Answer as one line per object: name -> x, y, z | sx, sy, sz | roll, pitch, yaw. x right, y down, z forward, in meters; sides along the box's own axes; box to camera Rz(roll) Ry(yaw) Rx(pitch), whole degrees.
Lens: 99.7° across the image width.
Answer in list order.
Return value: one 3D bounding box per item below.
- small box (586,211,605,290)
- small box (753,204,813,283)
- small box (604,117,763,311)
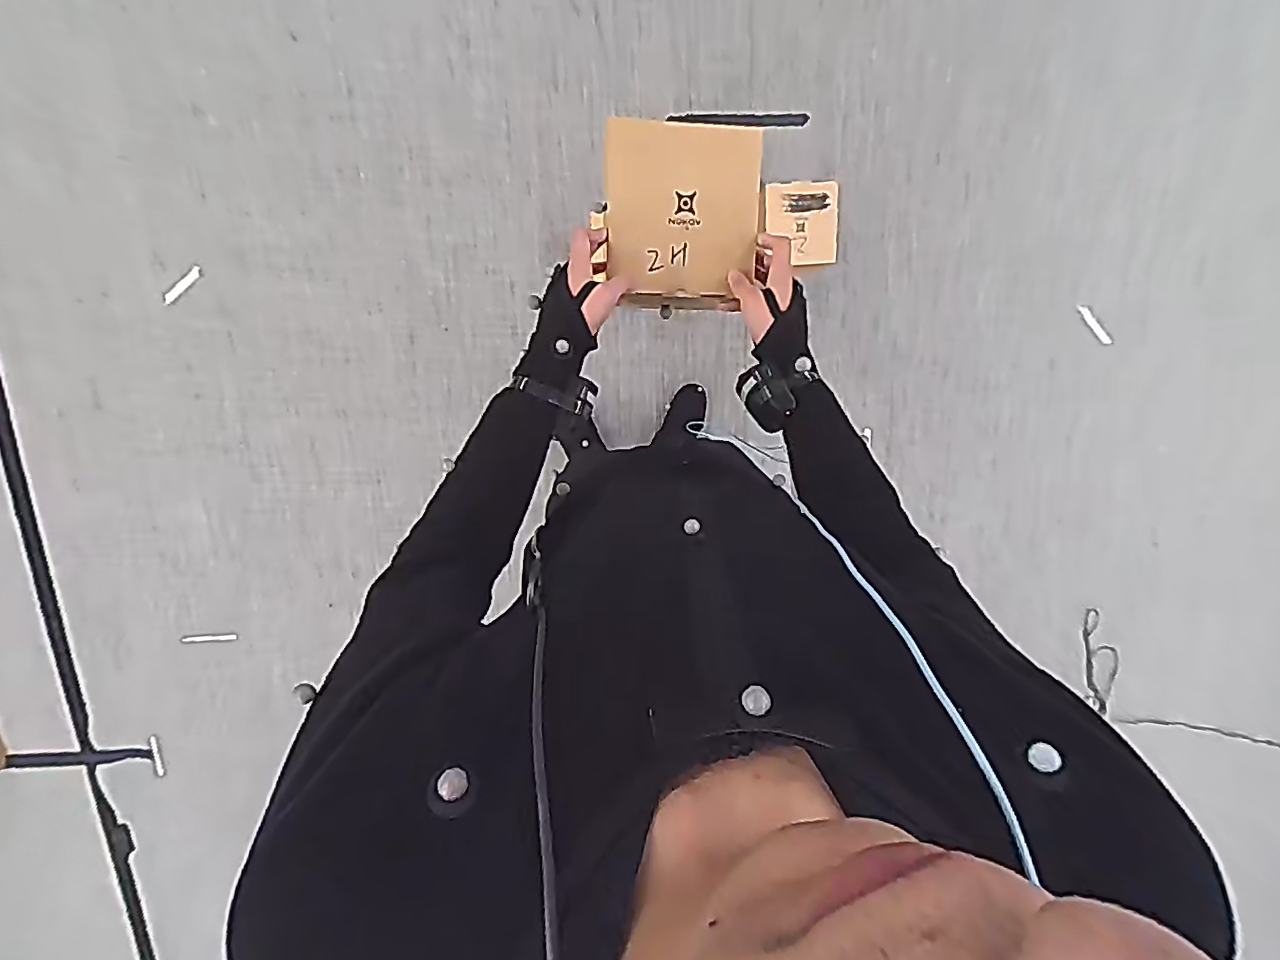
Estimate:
small box -> -0.047, -0.594, 1.432 | 0.179, 0.176, 0.168 | 6, 102, -5
small box -> 0.347, -0.629, 1.453 | 0.179, 0.176, 0.168 | -3, 103, -5
small box -> 0.041, -0.309, 0.665 | 0.168, 0.176, 0.179 | 0, 103, -5
